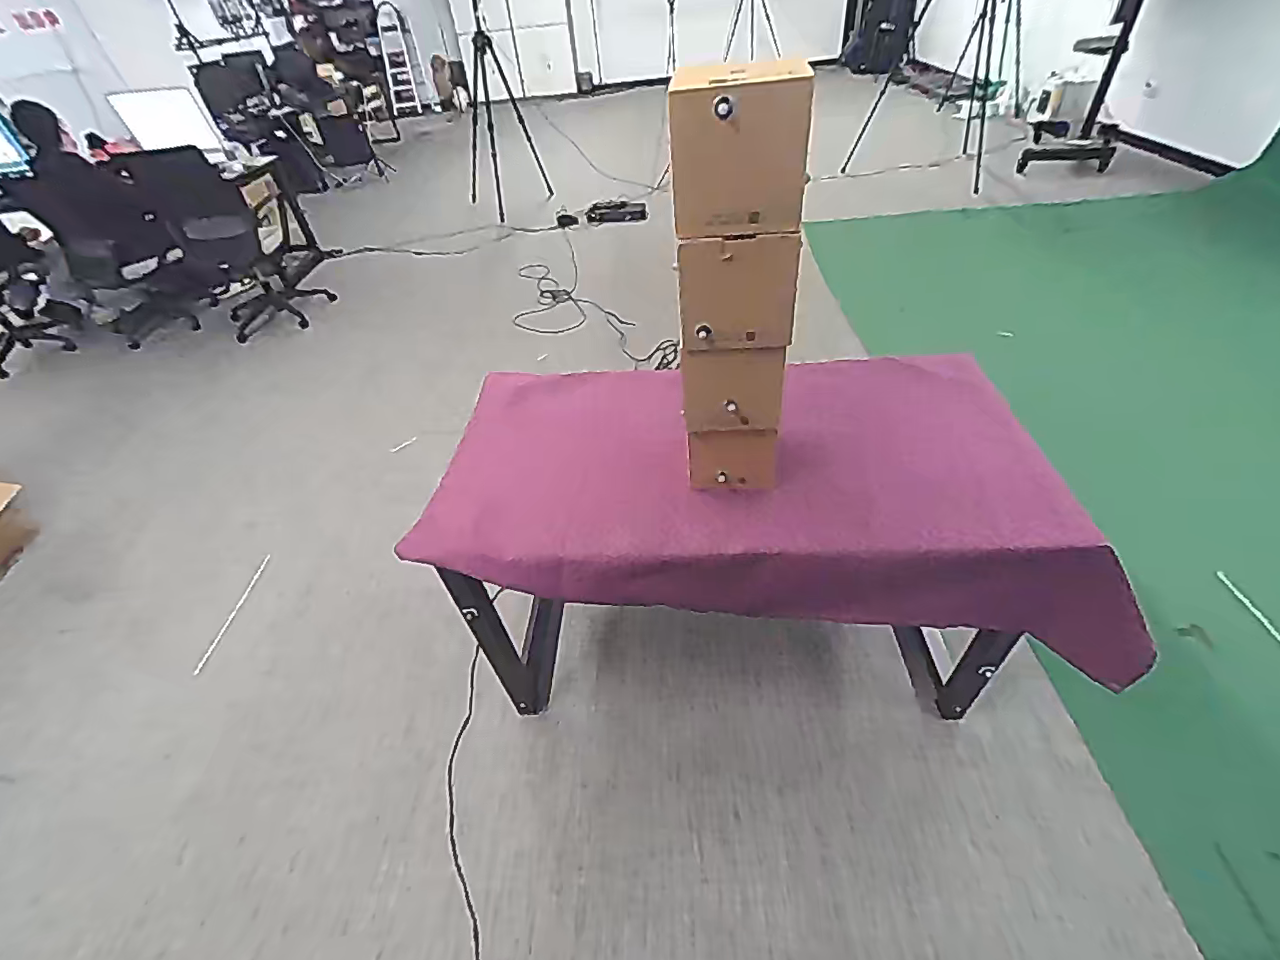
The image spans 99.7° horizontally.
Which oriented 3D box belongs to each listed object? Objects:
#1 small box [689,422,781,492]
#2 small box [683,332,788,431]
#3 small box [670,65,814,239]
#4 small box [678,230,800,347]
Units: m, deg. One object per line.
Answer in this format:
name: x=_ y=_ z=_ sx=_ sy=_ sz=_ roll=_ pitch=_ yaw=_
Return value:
small box: x=0.185 y=-0.096 z=1.077 sx=0.168 sy=0.176 sz=0.179 roll=0 pitch=44 yaw=9
small box: x=0.164 y=-0.204 z=0.955 sx=0.168 sy=0.176 sz=0.179 roll=-1 pitch=43 yaw=8
small box: x=0.134 y=-0.440 z=0.729 sx=0.168 sy=0.176 sz=0.179 roll=0 pitch=43 yaw=10
small box: x=0.151 y=-0.317 z=0.836 sx=0.168 sy=0.176 sz=0.179 roll=0 pitch=42 yaw=8
